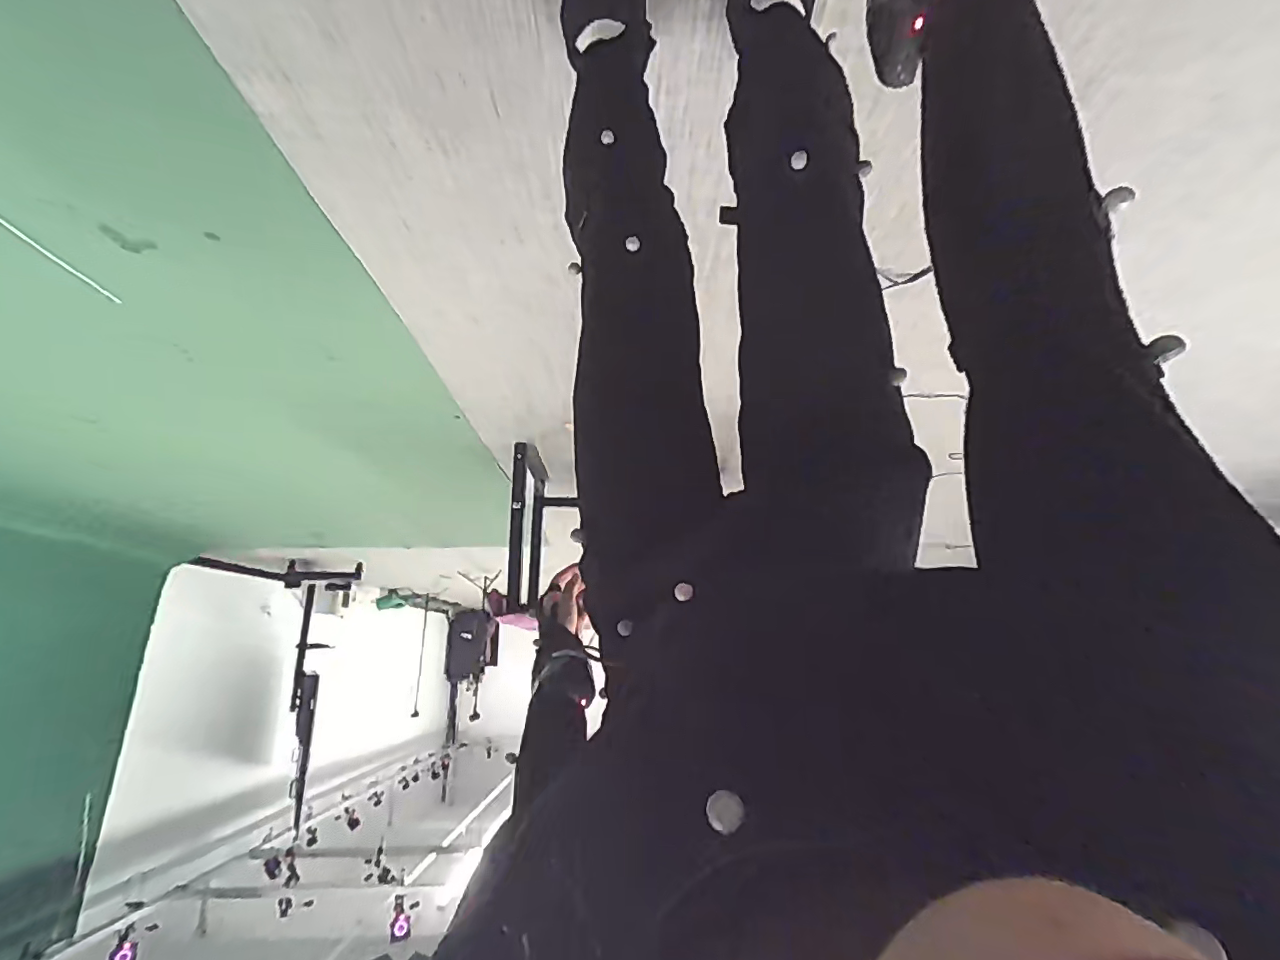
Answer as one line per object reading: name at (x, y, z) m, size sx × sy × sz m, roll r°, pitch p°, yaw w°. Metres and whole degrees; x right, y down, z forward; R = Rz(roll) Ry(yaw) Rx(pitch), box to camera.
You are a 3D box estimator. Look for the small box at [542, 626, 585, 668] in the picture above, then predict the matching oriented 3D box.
small box at (-0.337, 0.745, 2.411) m, size 0.168 × 0.176 × 0.179 m, roll -3°, pitch 160°, yaw 2°
